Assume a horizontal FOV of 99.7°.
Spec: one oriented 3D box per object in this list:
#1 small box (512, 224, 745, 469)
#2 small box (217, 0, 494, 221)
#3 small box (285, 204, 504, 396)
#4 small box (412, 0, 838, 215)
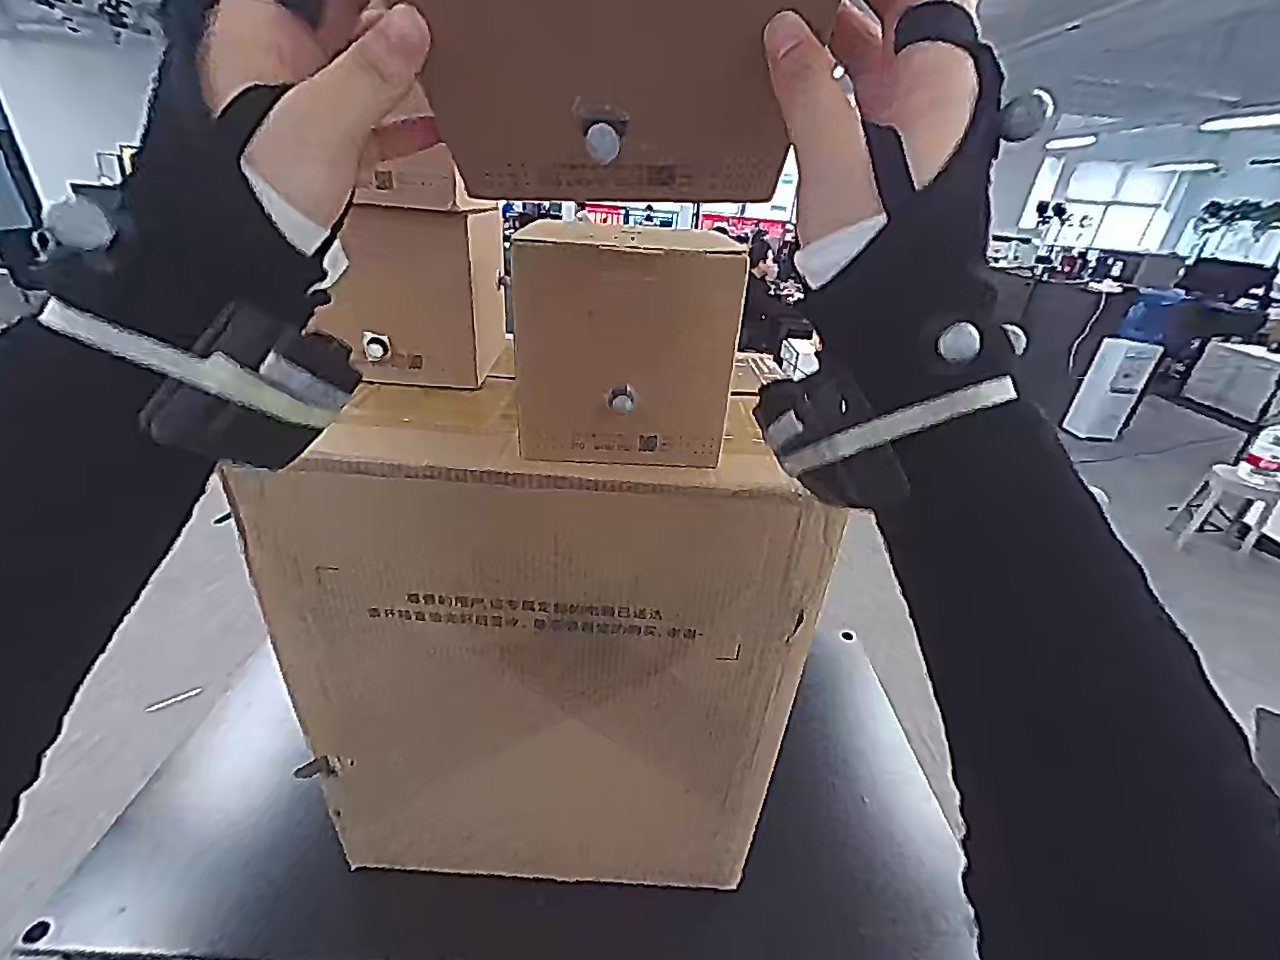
[{"bbox_3d":[-0.014,-0.125,0.483,0.168,0.176,0.179,2,30,-3],"label":"small box"},{"bbox_3d":[-0.235,-0.340,0.502,0.168,0.176,0.179,3,28,-4],"label":"small box"},{"bbox_3d":[-0.245,-0.202,0.592,0.168,0.176,0.179,2,29,-5],"label":"small box"},{"bbox_3d":[-0.009,-0.251,0.239,0.168,0.179,0.176,0,-13,0],"label":"small box"}]
